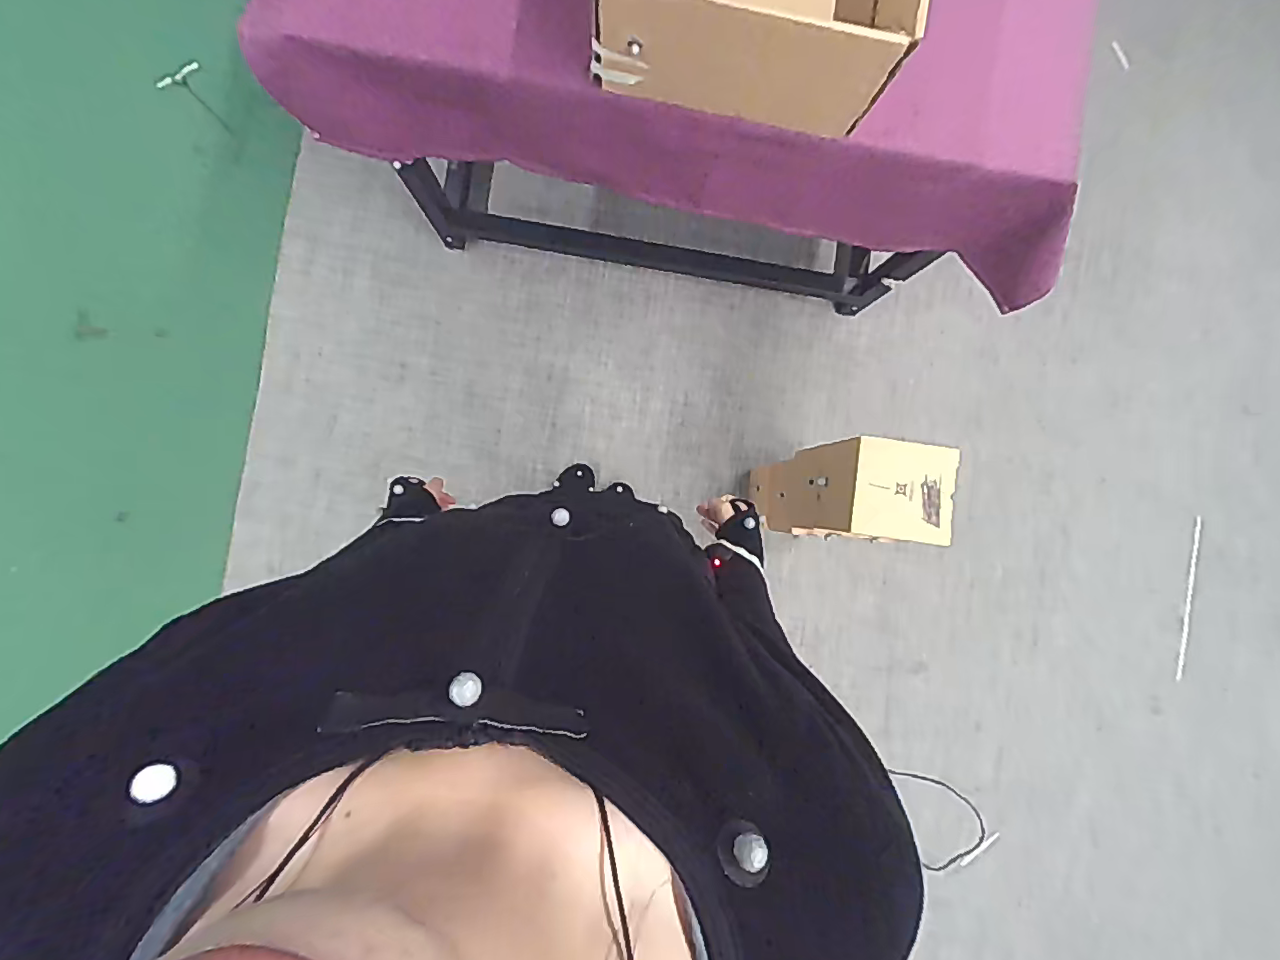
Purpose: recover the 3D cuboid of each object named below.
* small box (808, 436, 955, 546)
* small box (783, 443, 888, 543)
[{"bbox_3d":[0.429,0.021,0.982,0.179,0.176,0.168,8,87,-3],"label":"small box"},{"bbox_3d":[0.417,0.029,1.146,0.168,0.176,0.179,10,87,-4],"label":"small box"}]
